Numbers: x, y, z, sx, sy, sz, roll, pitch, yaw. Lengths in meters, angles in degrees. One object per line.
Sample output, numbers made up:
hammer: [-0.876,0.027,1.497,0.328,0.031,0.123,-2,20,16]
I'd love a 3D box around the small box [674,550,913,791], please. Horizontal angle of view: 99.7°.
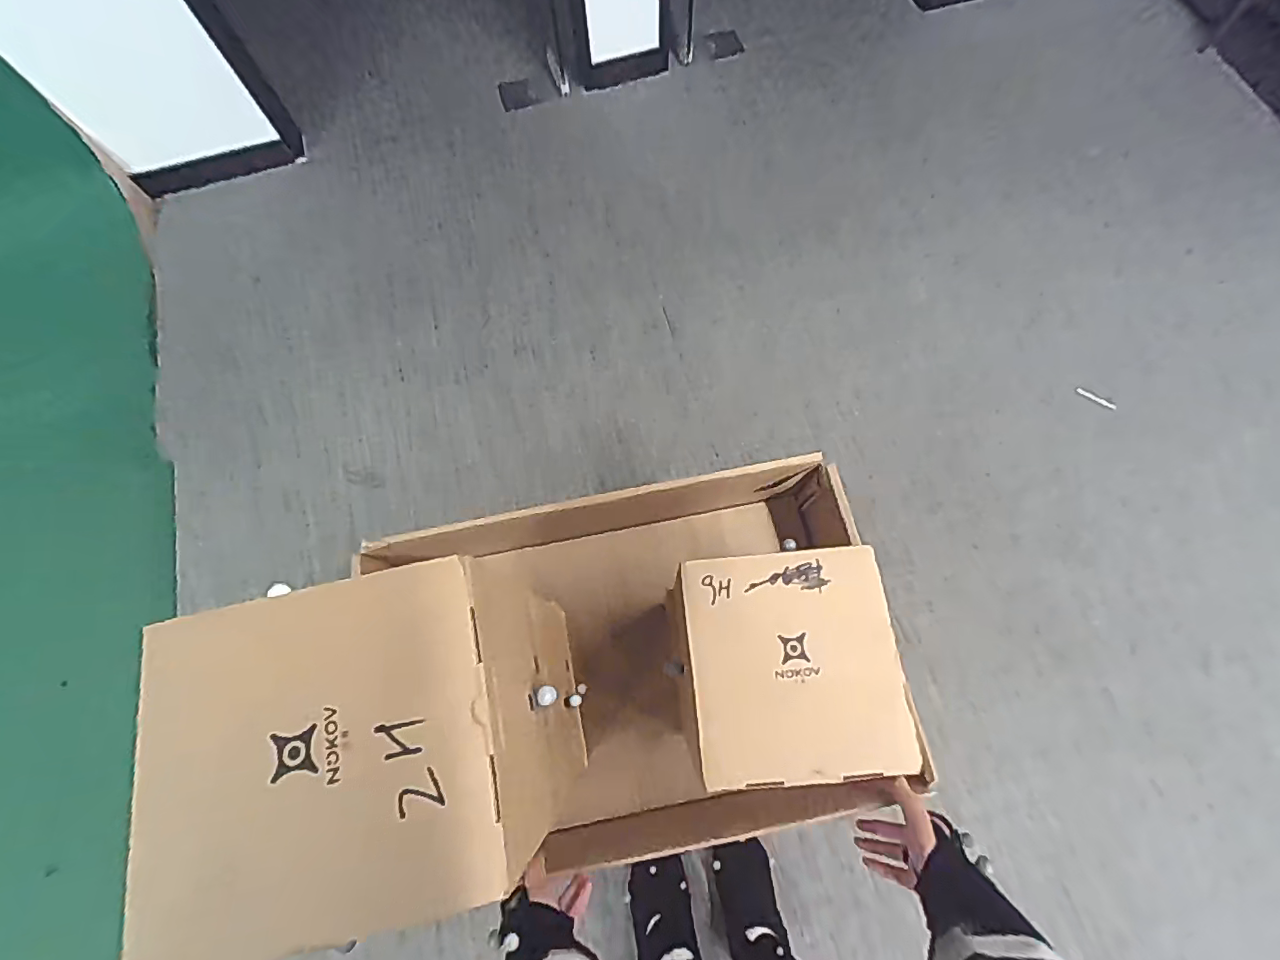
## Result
small box: [0.122,0.170,0.508,0.168,0.176,0.179,-4,72,-1]

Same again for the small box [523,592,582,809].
small box: [-0.159,0.212,0.503,0.179,0.176,0.168,-11,71,-4]

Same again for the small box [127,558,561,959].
small box: [-0.159,0.160,0.346,0.179,0.176,0.168,-12,72,-4]
